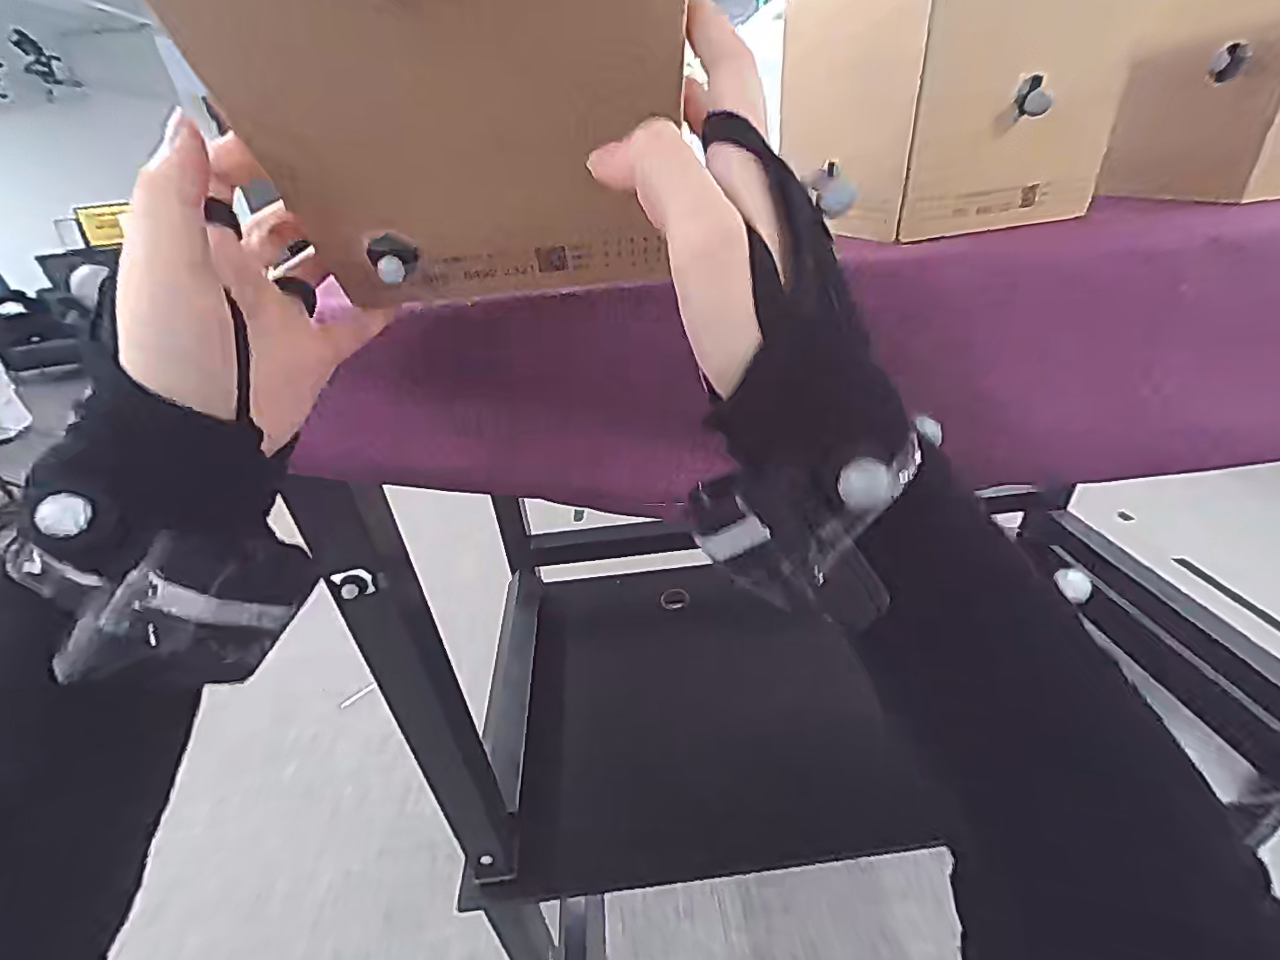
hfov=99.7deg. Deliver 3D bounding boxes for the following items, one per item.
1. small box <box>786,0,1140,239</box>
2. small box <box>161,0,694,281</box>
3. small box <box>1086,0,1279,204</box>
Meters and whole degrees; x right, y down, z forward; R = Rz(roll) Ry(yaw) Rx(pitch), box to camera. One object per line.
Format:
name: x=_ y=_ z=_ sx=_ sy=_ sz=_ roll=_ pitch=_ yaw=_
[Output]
small box: x=0.228 y=-0.288 z=0.415 sx=0.168 sy=0.176 sz=0.179 roll=-12 pitch=31 yaw=-11
small box: x=-0.068 y=-0.206 z=0.234 sx=0.168 sy=0.176 sz=0.179 roll=-6 pitch=65 yaw=-2
small box: x=0.495 y=-0.323 z=0.434 sx=0.168 sy=0.176 sz=0.179 roll=-8 pitch=30 yaw=-6
